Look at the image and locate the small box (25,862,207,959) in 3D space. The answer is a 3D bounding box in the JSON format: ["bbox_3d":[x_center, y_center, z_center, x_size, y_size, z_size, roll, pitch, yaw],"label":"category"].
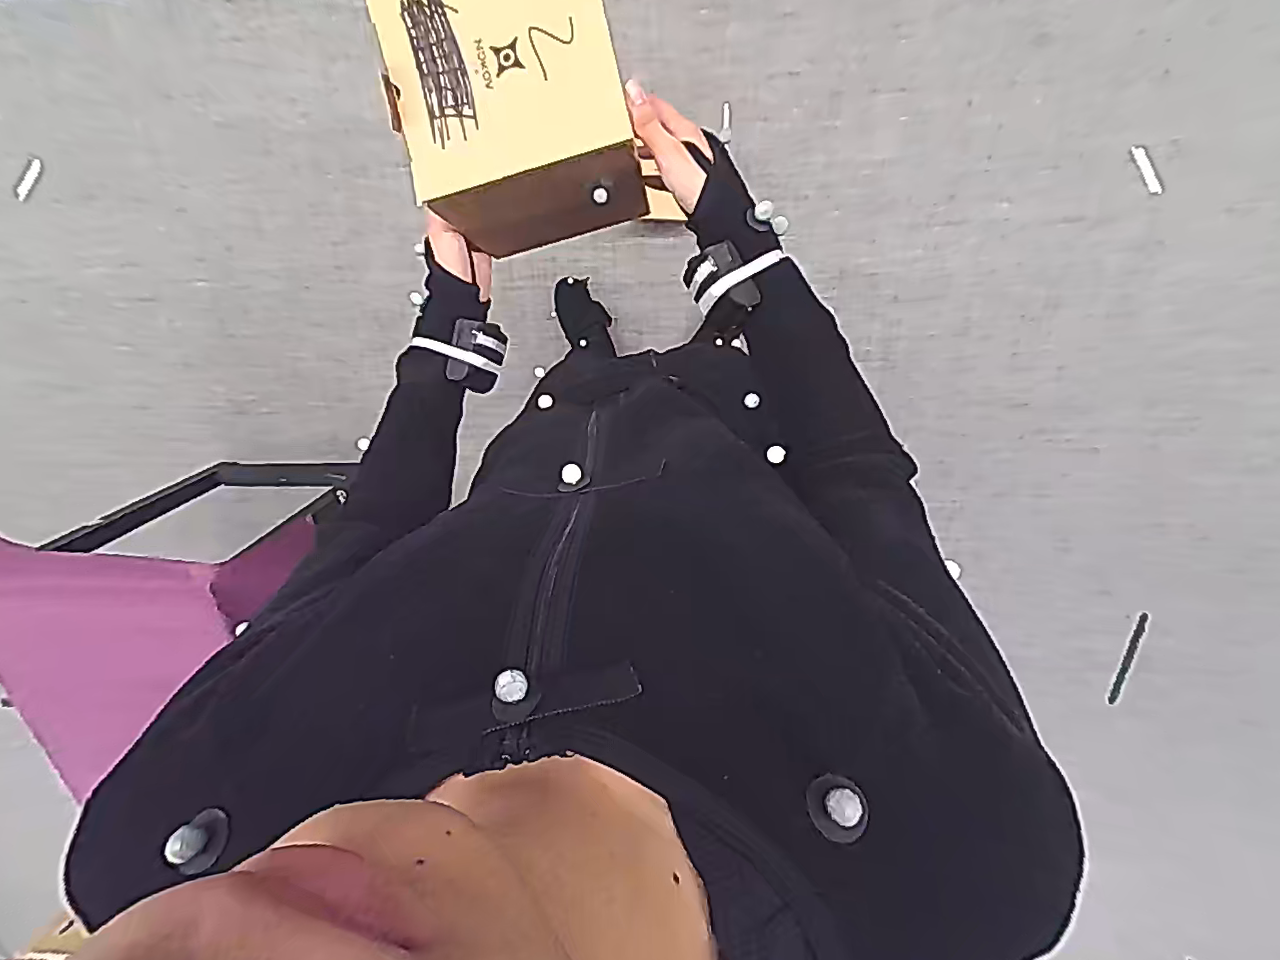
[{"bbox_3d":[-1.062,0.921,1.114,0.179,0.176,0.168,-5,114,6],"label":"small box"}]

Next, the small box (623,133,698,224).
[{"bbox_3d":[0.051,-0.720,1.306,0.168,0.176,0.179,4,113,2],"label":"small box"}]
